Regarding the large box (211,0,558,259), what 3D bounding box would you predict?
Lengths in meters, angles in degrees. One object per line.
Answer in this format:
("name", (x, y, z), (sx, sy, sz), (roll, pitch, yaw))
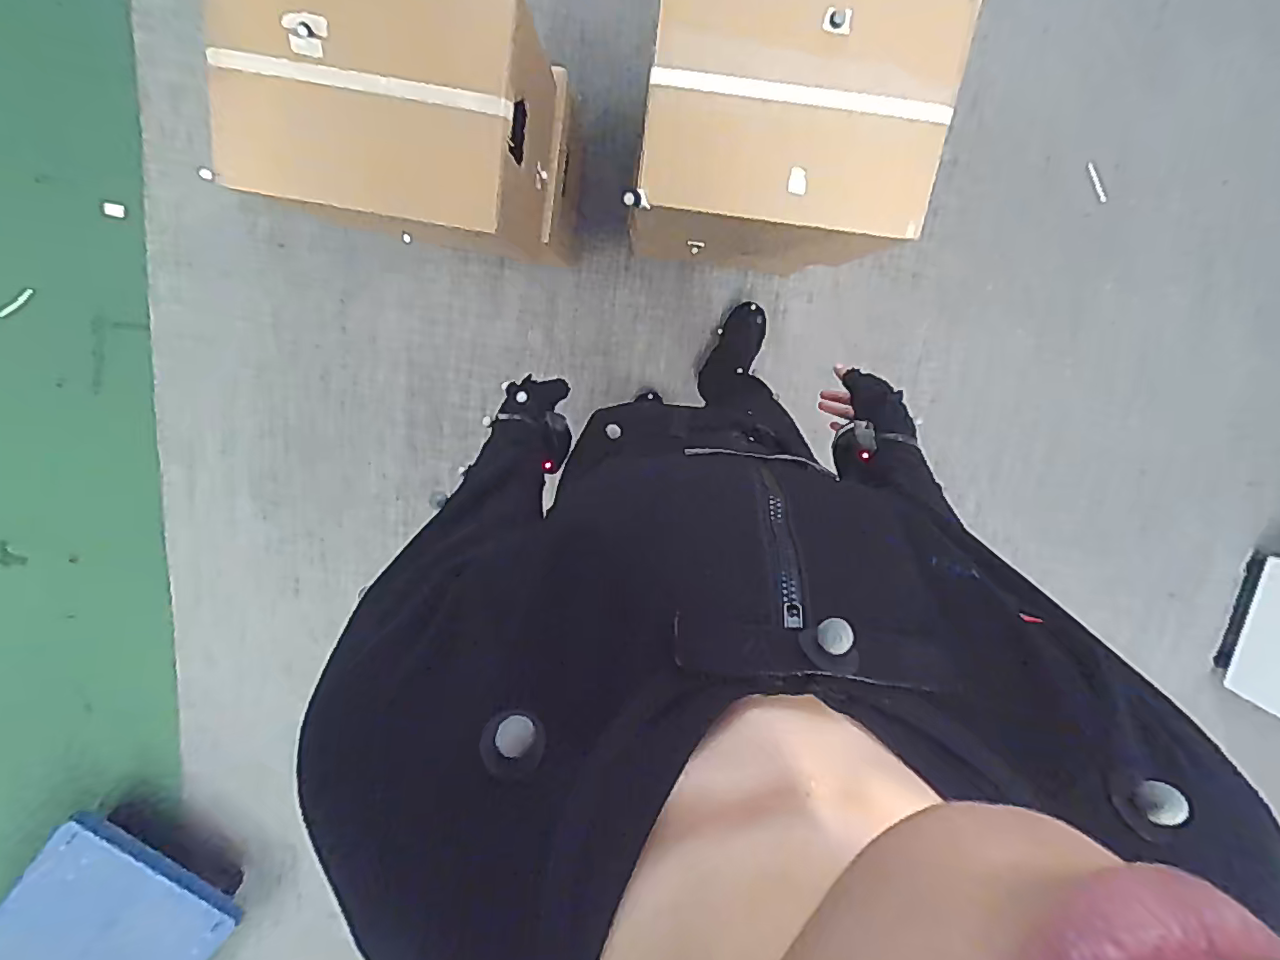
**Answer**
("large box", (-0.369, -0.561, 0.870), (0.408, 0.320, 0.320), (10, 105, 0))
